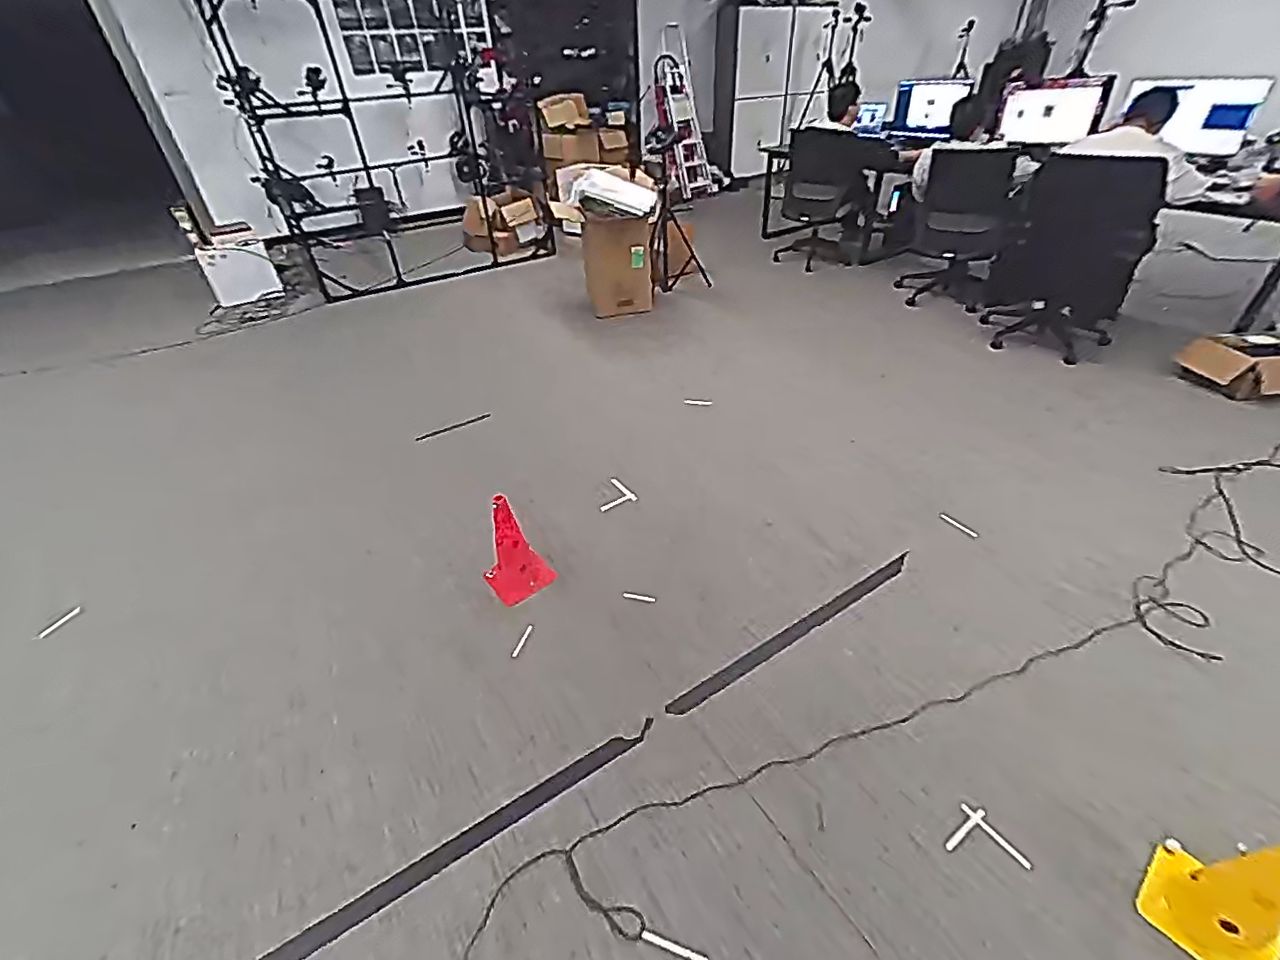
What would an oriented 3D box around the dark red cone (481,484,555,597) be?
[{"bbox_3d":[-0.428,0.179,1.768,0.202,0.394,0.201,-29,45,-30],"label":"dark red cone"}]
